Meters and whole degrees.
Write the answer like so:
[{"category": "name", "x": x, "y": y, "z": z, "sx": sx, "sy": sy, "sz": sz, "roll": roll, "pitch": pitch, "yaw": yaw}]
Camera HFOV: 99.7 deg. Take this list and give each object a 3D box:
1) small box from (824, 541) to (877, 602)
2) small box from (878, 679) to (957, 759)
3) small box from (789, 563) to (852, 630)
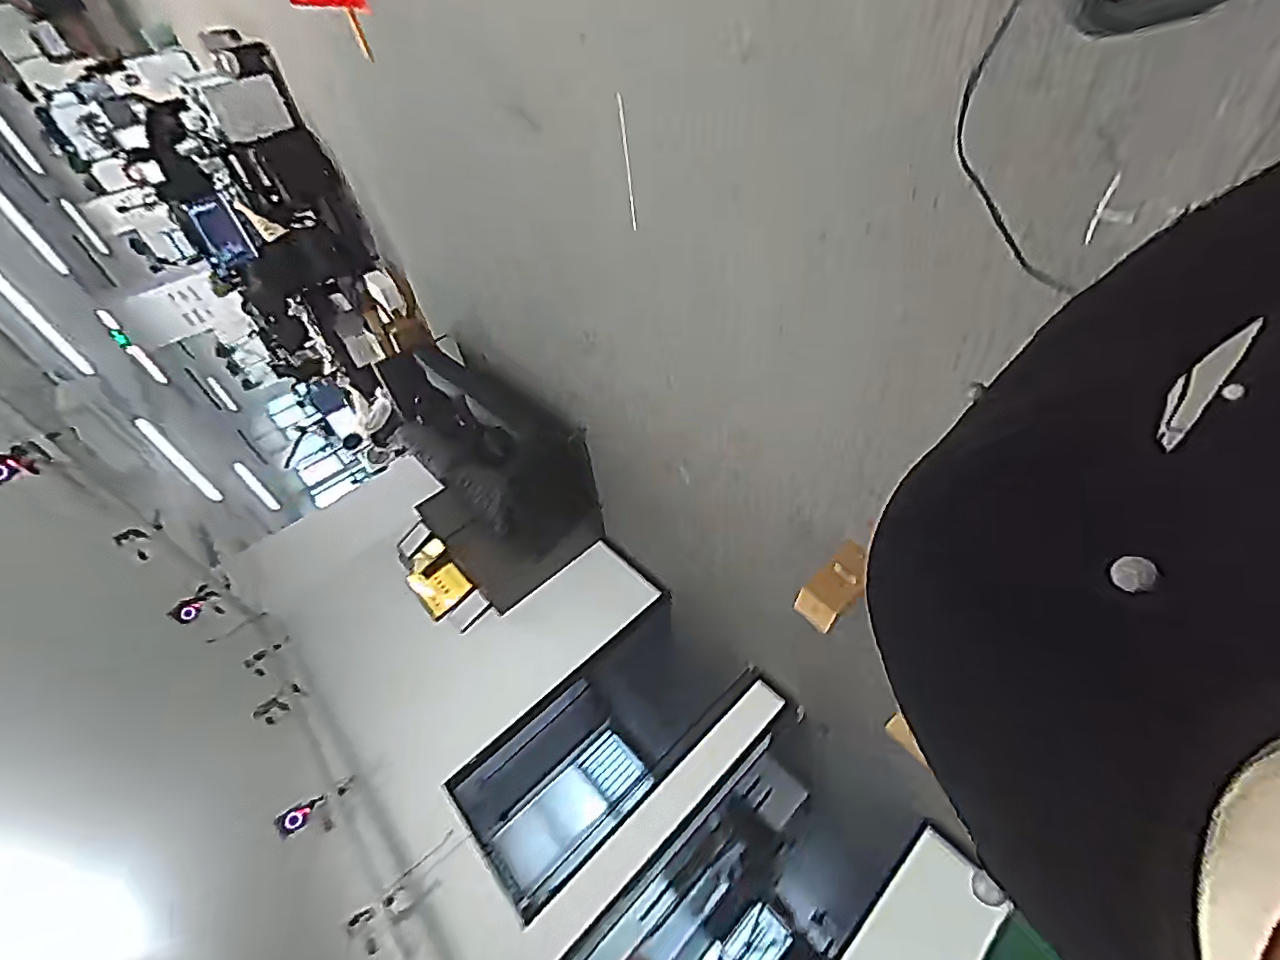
[{"category": "small box", "x": 0.866, "y": 0.393, "z": 2.287, "sx": 0.168, "sy": 0.176, "sz": 0.179, "roll": 41, "pitch": 151, "yaw": 22}, {"category": "small box", "x": 0.970, "y": 0.828, "z": 1.884, "sx": 0.168, "sy": 0.176, "sz": 0.179, "roll": 38, "pitch": 151, "yaw": 30}, {"category": "small box", "x": 0.743, "y": 0.476, "z": 2.225, "sx": 0.168, "sy": 0.176, "sz": 0.179, "roll": 40, "pitch": 151, "yaw": 28}]
